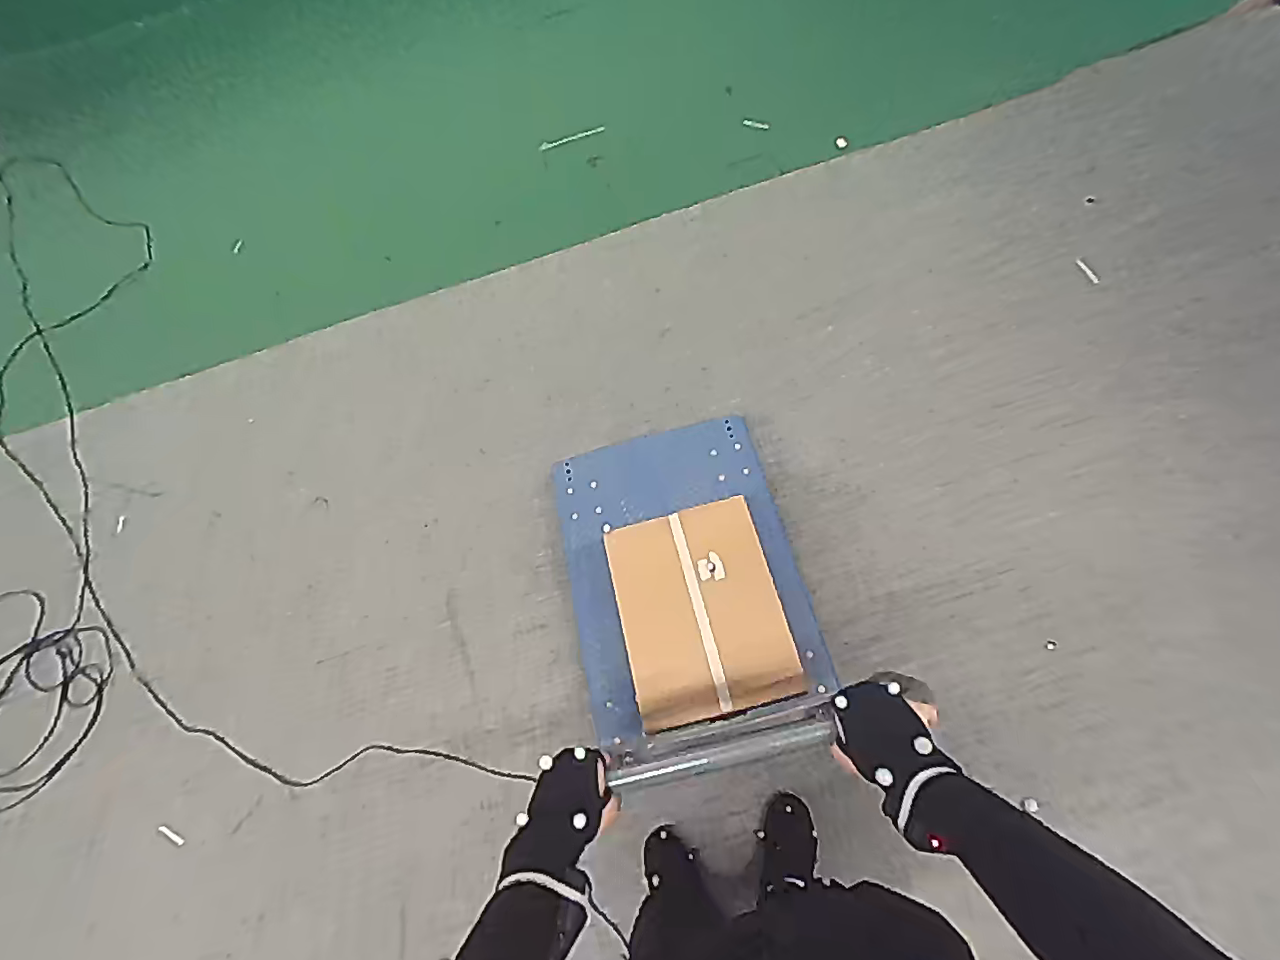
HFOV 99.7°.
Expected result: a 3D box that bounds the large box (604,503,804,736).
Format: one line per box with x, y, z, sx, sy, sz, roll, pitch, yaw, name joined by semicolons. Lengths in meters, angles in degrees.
0.135;0.323;1.213;0.320;0.320;0.408;-15;63;1;large box
